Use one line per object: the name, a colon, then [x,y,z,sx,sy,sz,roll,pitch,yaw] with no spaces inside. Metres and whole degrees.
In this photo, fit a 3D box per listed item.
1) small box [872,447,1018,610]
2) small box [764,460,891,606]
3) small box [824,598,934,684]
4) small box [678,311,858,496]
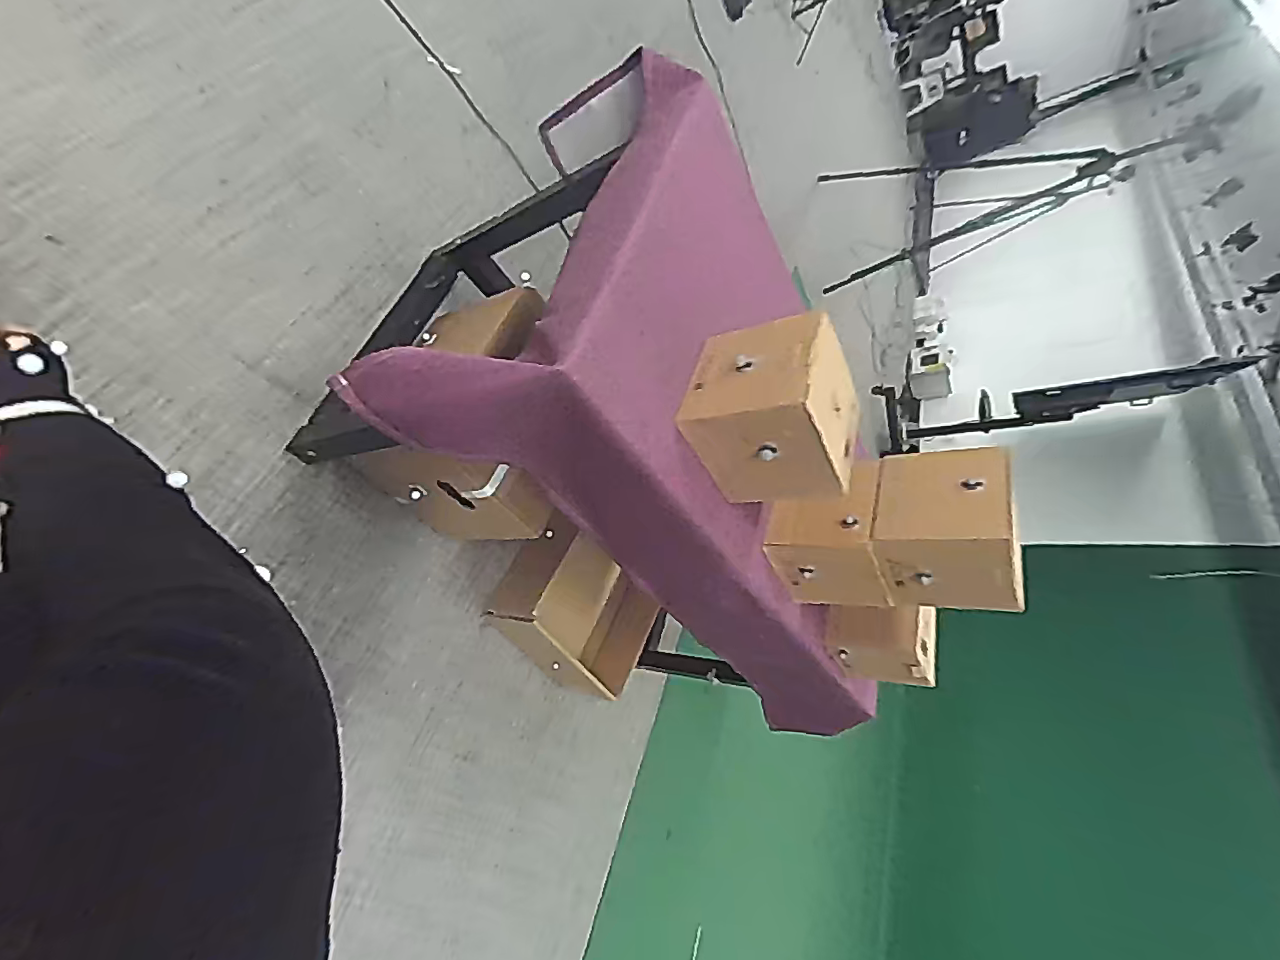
small box: [0.460,0.073,0.816,0.168,0.176,0.179,55,47,-33]
small box: [0.325,0.088,0.910,0.168,0.176,0.179,55,47,-34]
small box: [0.486,0.290,1.100,0.168,0.176,0.179,50,48,-37]
small box: [0.174,-0.089,0.723,0.179,0.176,0.168,50,50,-37]
